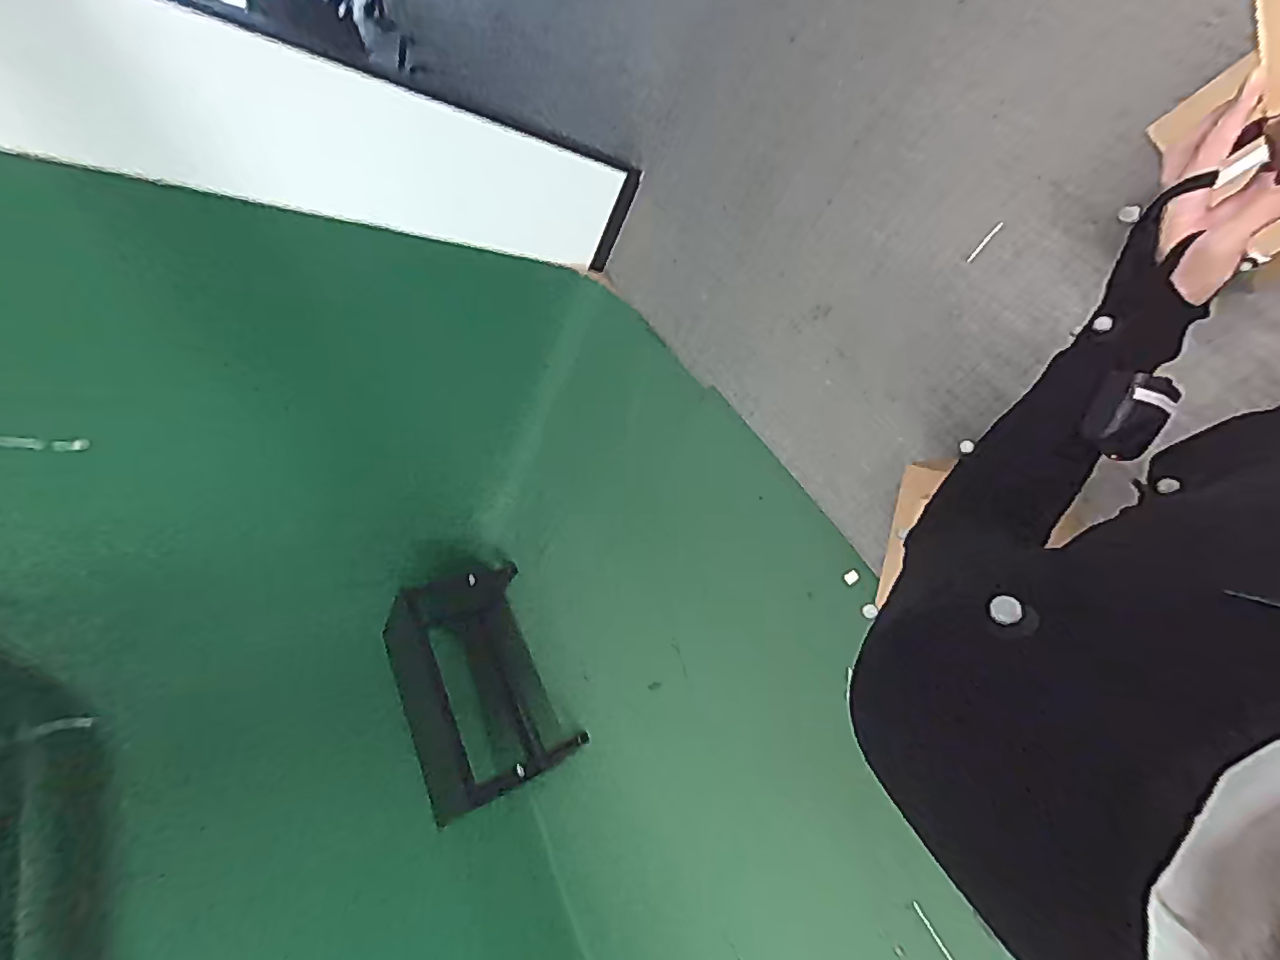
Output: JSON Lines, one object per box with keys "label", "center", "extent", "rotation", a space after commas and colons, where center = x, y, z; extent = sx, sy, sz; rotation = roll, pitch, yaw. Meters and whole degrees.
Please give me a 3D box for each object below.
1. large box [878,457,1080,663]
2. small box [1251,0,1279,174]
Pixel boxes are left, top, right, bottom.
{"label": "large box", "center": [0.850, 0.170, 1.368], "extent": [0.320, 0.320, 0.408], "rotation": [20, 110, 47]}
{"label": "small box", "center": [0.539, -0.333, 0.360], "extent": [0.168, 0.176, 0.179], "rotation": [-3, 86, 52]}
